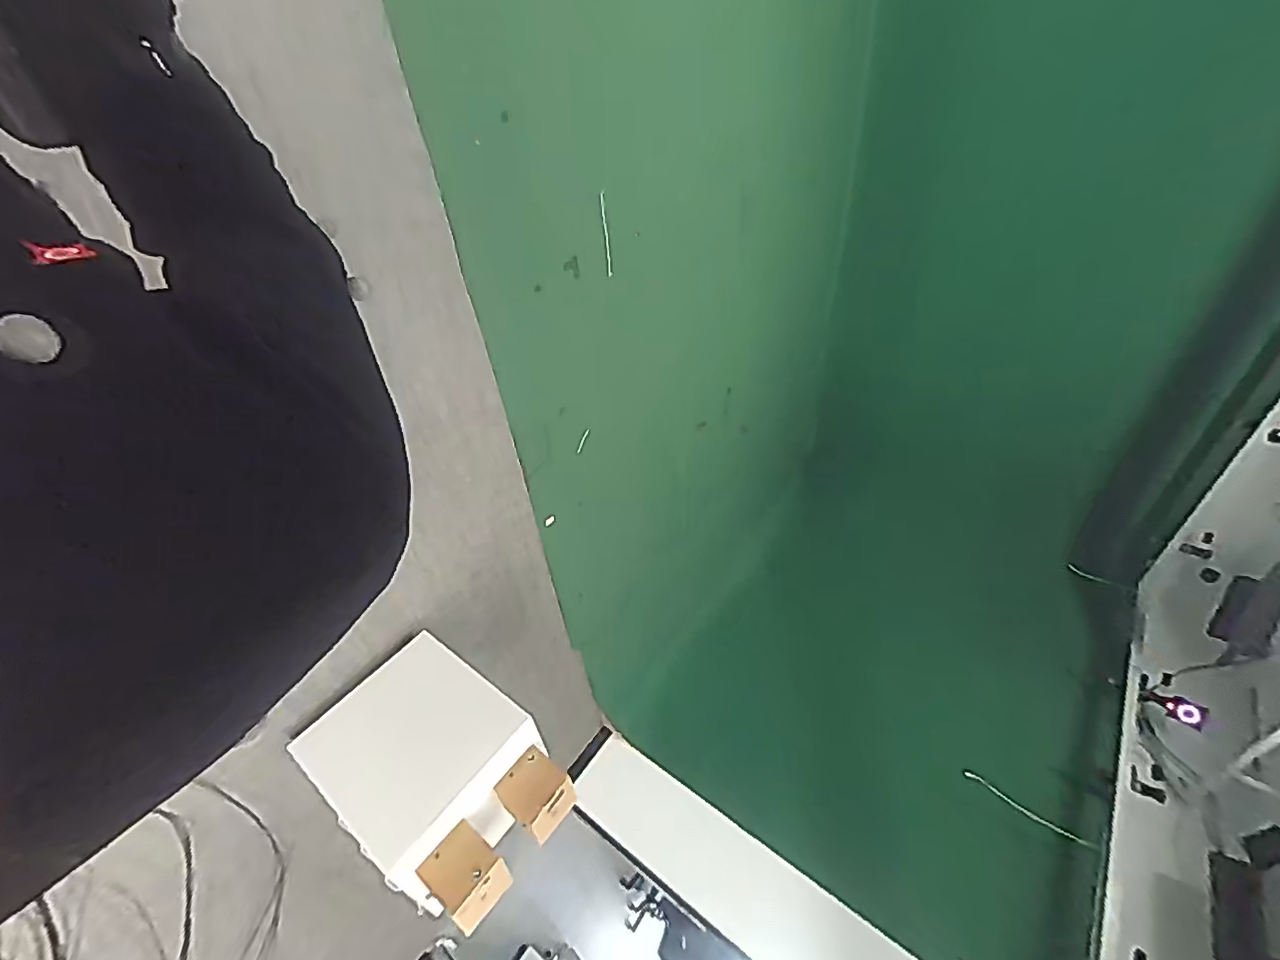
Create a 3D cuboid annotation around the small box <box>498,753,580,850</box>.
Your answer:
[{"bbox_3d":[-0.310,0.975,1.656,0.168,0.176,0.179,-41,140,-35],"label":"small box"}]

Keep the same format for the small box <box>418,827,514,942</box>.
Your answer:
[{"bbox_3d":[-0.476,1.102,1.485,0.168,0.176,0.179,-40,140,-39],"label":"small box"}]
